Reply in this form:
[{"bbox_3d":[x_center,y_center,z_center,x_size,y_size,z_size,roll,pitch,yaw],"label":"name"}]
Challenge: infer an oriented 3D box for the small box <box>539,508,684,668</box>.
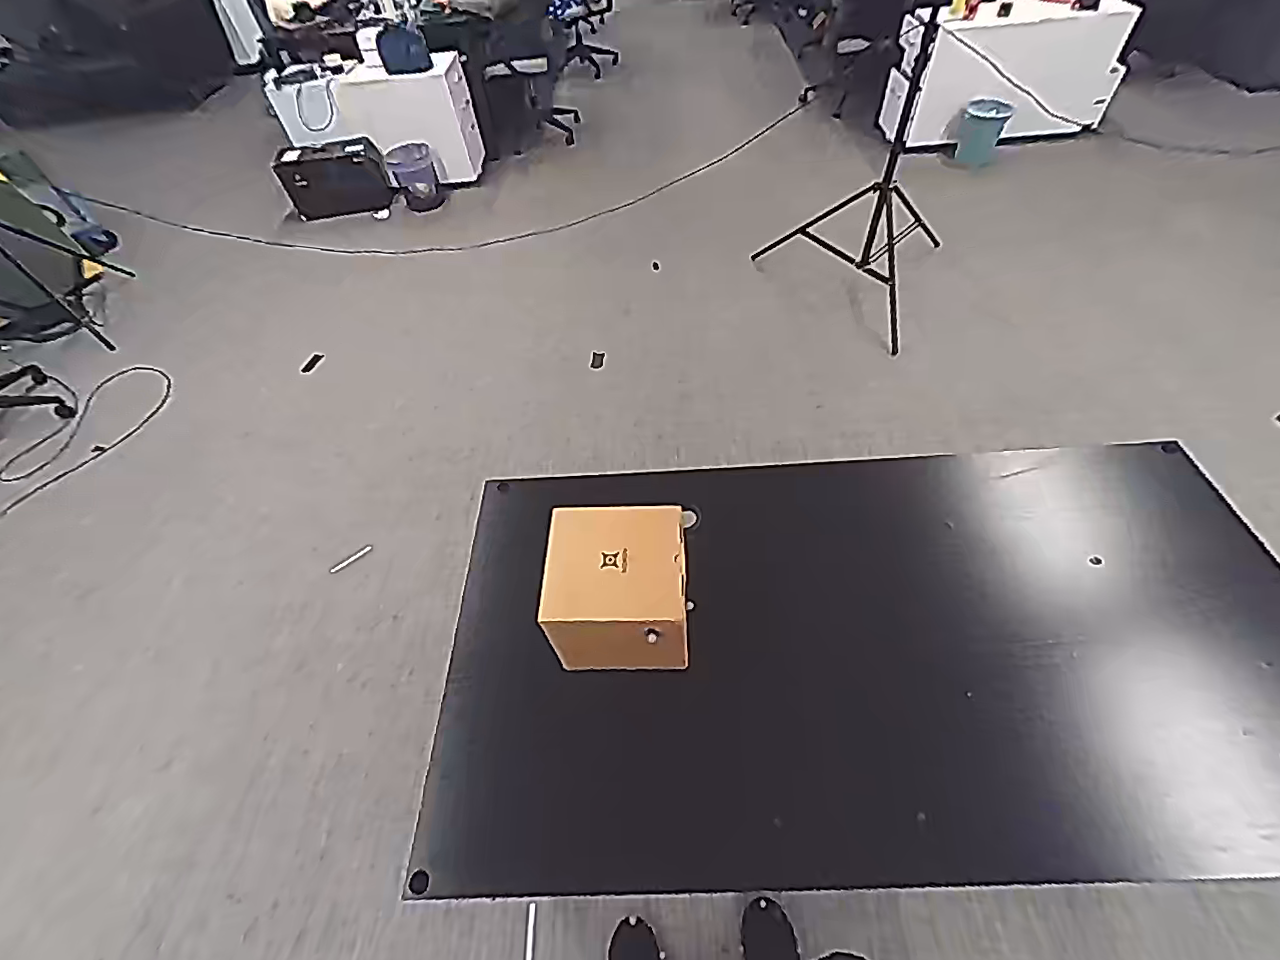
[{"bbox_3d":[-0.029,0.154,0.753,0.179,0.176,0.168,-1,52,3],"label":"small box"}]
